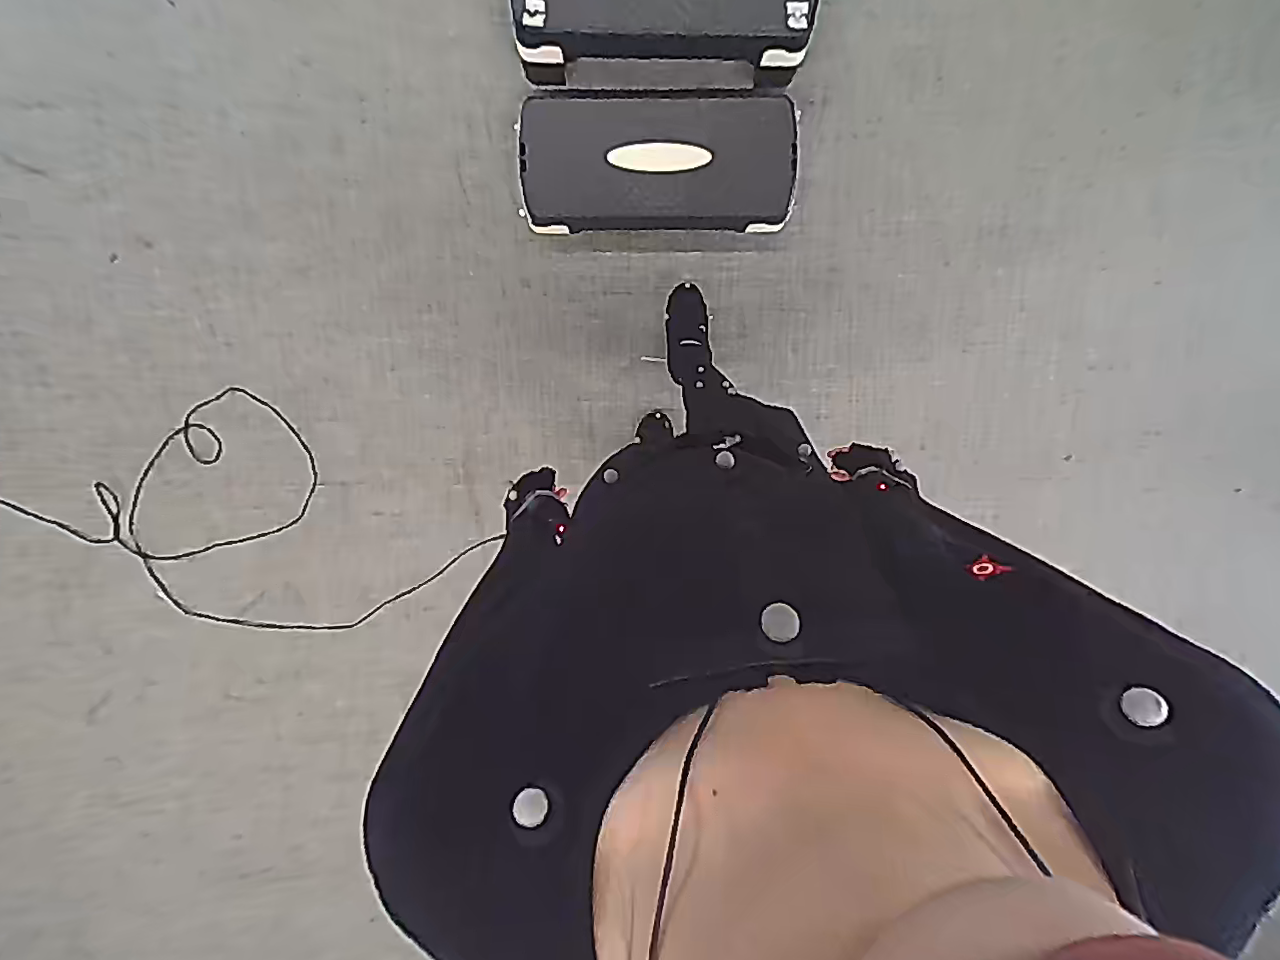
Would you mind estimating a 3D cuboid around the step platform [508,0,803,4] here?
[{"bbox_3d":[0.032,-1.093,0.999,0.684,0.204,0.286,0,100,0],"label":"step platform"}]
